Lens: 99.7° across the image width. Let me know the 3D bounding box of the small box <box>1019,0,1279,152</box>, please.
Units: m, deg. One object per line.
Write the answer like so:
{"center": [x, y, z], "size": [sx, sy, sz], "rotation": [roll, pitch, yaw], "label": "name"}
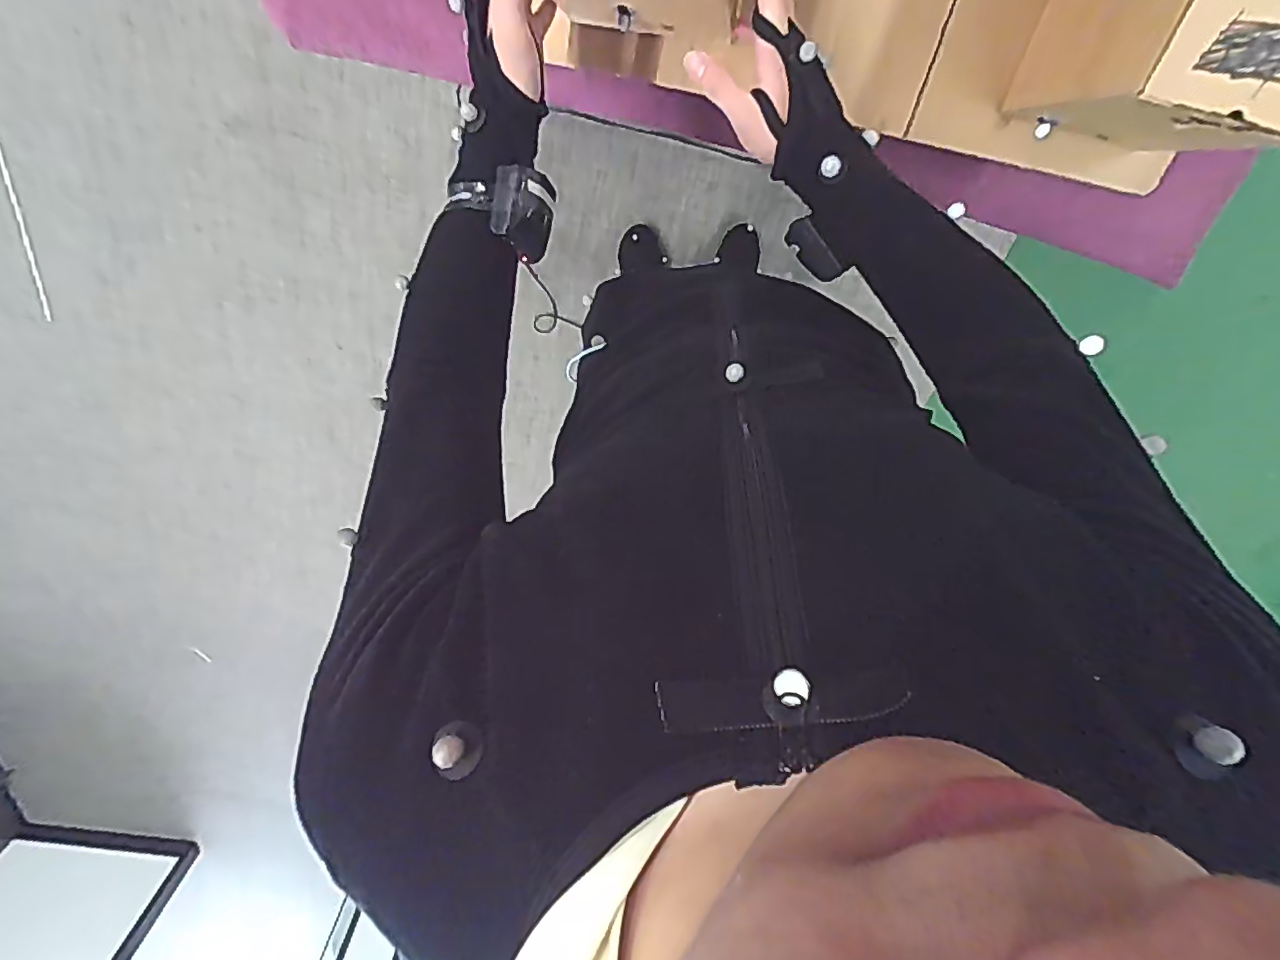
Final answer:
{"center": [0.456, -0.378, 0.433], "size": [0.168, 0.176, 0.179], "rotation": [8, 118, -8], "label": "small box"}
